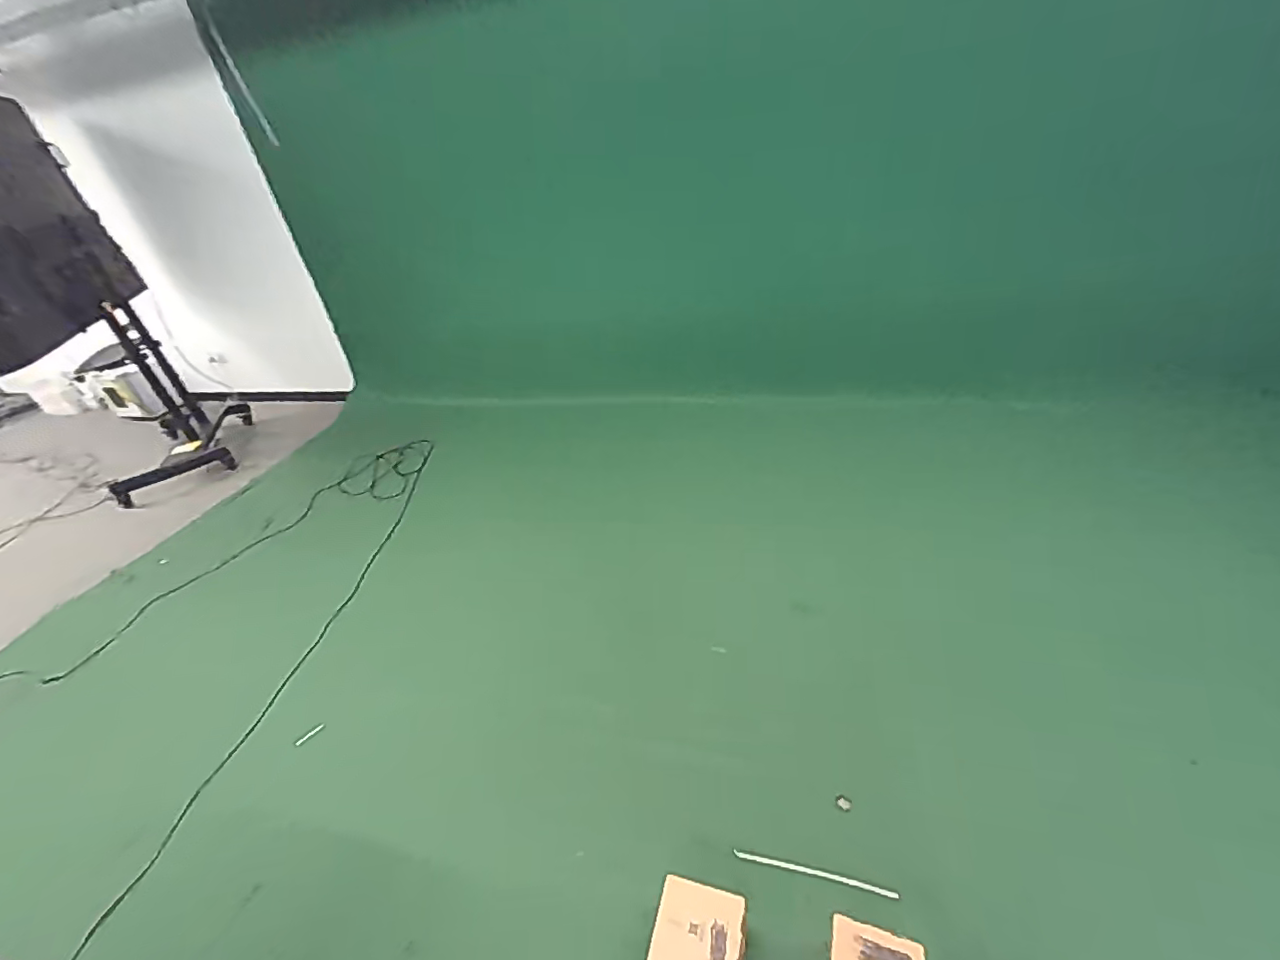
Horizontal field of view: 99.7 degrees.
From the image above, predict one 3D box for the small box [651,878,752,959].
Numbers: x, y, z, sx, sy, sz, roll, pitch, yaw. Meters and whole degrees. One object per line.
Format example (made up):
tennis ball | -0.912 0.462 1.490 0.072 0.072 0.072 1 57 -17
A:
small box | 0.137 0.992 1.142 0.179 0.176 0.168 3 35 20
